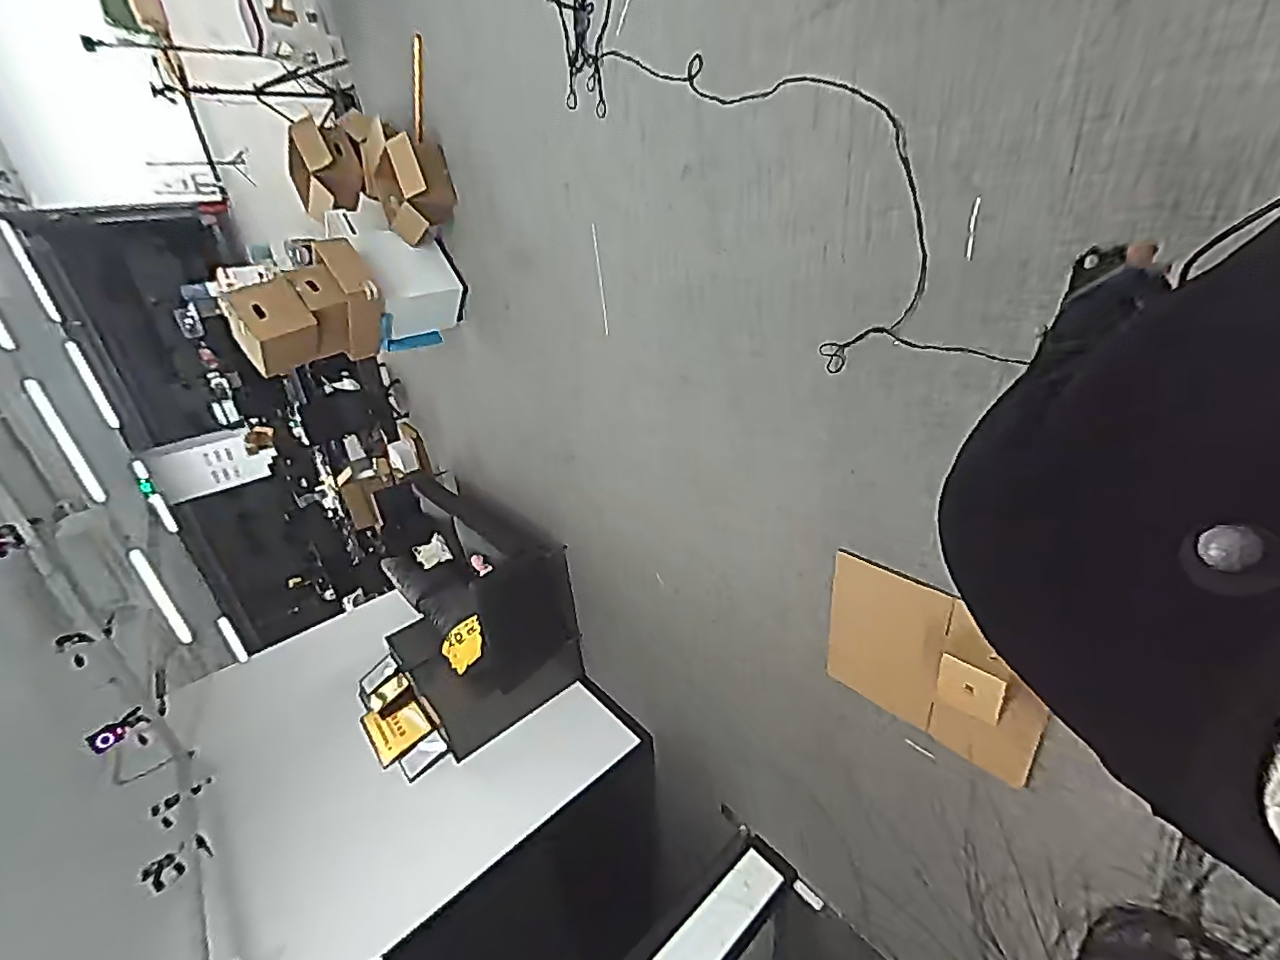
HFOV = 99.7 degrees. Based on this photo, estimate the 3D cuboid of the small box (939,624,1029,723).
[{"bbox_3d":[1.006,0.555,1.579,0.168,0.176,0.179,22,128,46],"label":"small box"}]
